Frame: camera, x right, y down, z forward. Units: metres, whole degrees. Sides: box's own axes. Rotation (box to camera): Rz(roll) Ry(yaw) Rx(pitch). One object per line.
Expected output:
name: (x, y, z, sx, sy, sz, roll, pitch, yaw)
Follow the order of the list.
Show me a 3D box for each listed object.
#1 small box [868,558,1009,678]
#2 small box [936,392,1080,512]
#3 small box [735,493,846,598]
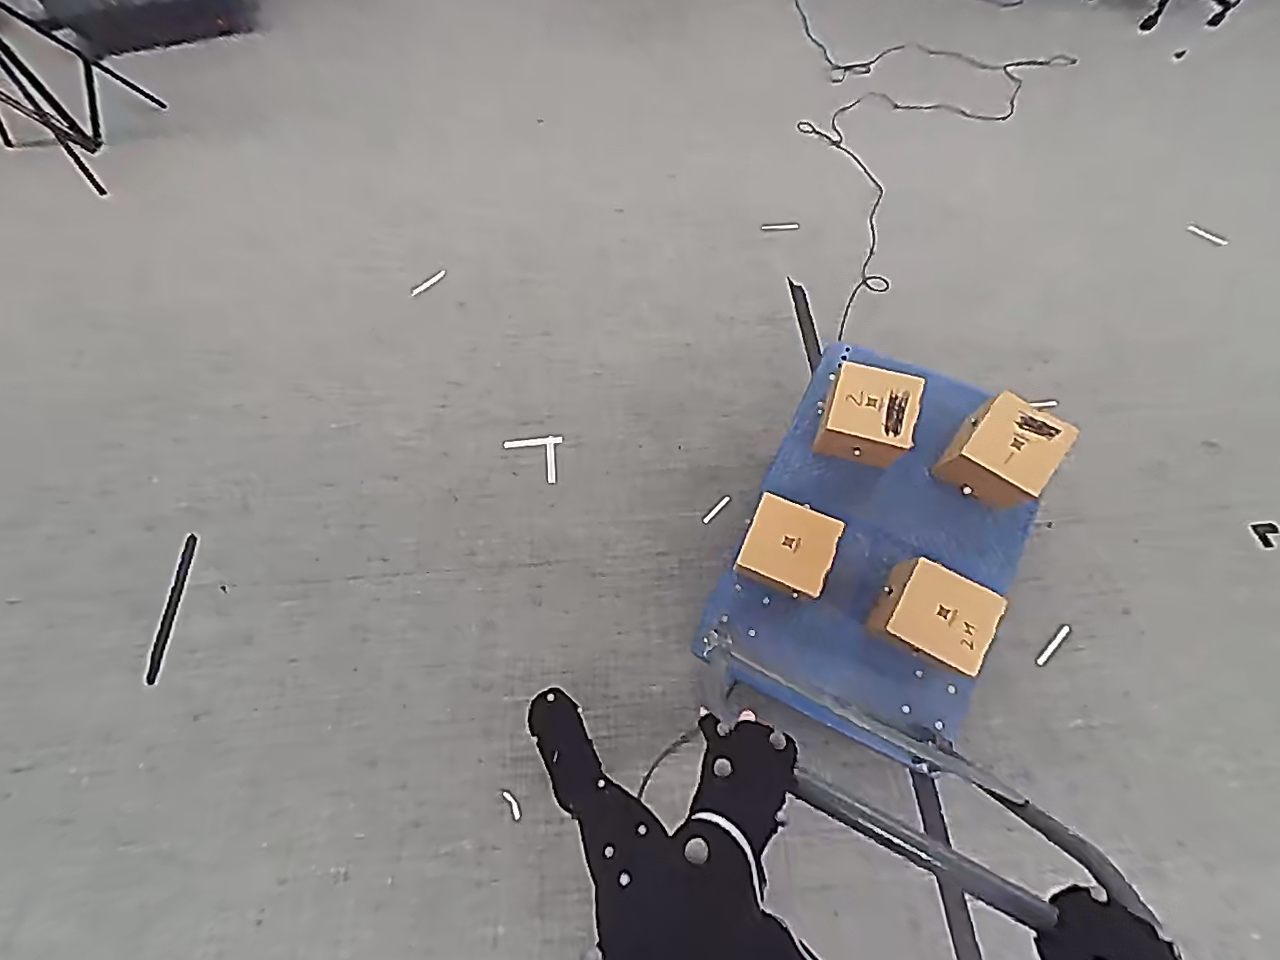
small box: (0.599, 0.282, 1.109, 0.179, 0.176, 0.168, 29, 81, 13)
small box: (0.785, -0.054, 1.176, 0.168, 0.176, 0.179, 35, 83, 14)
small box: (0.318, 0.151, 1.180, 0.179, 0.176, 0.168, 22, 79, 10)
